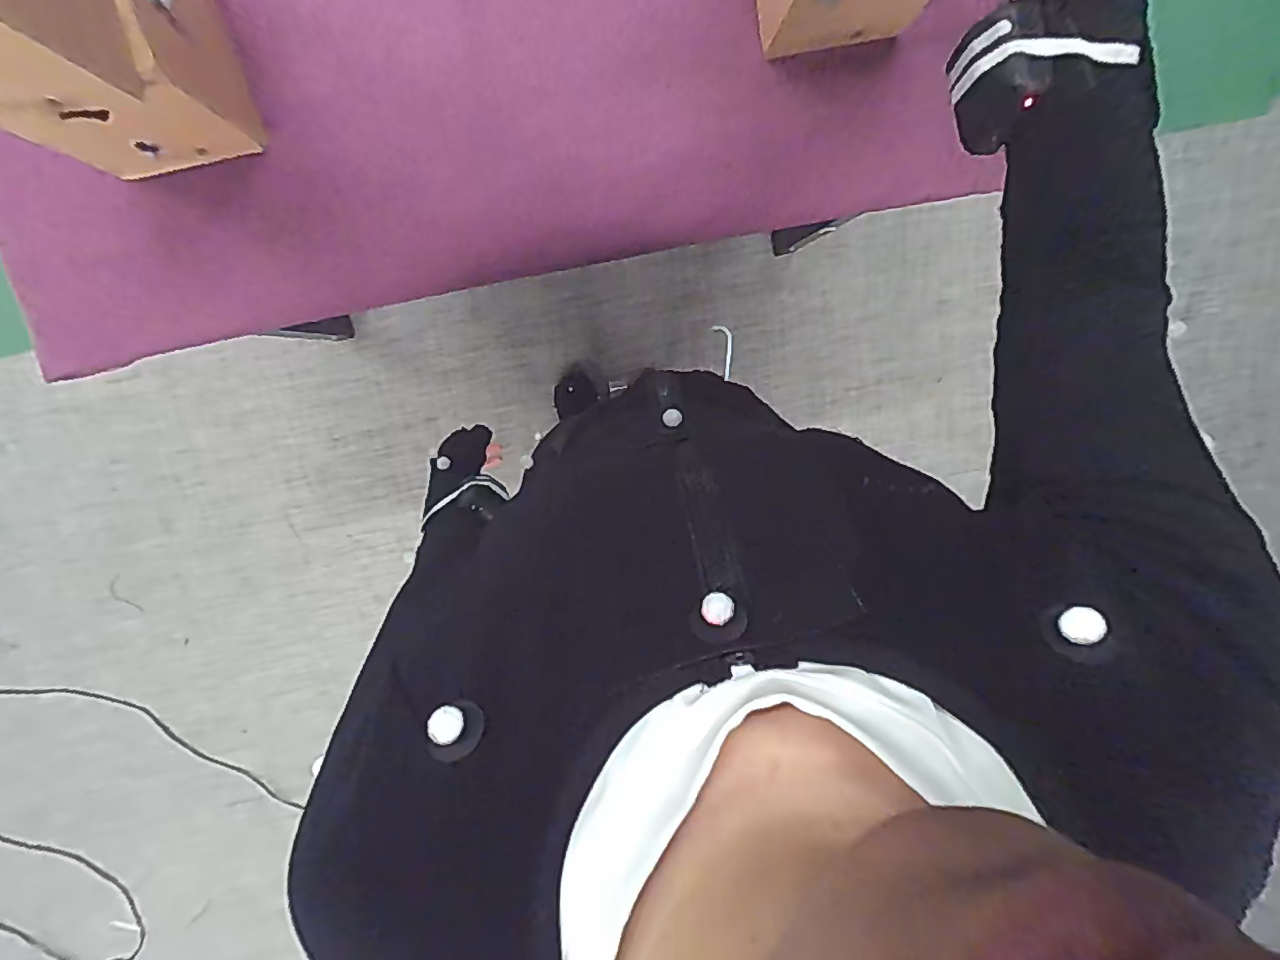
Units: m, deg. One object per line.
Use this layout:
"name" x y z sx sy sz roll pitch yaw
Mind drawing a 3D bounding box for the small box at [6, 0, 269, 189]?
"small box" -0.518 -0.419 0.533 0.168 0.176 0.179 -14 104 -2

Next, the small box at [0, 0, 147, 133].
"small box" -0.509 -0.367 0.377 0.168 0.176 0.179 -9 103 -3
